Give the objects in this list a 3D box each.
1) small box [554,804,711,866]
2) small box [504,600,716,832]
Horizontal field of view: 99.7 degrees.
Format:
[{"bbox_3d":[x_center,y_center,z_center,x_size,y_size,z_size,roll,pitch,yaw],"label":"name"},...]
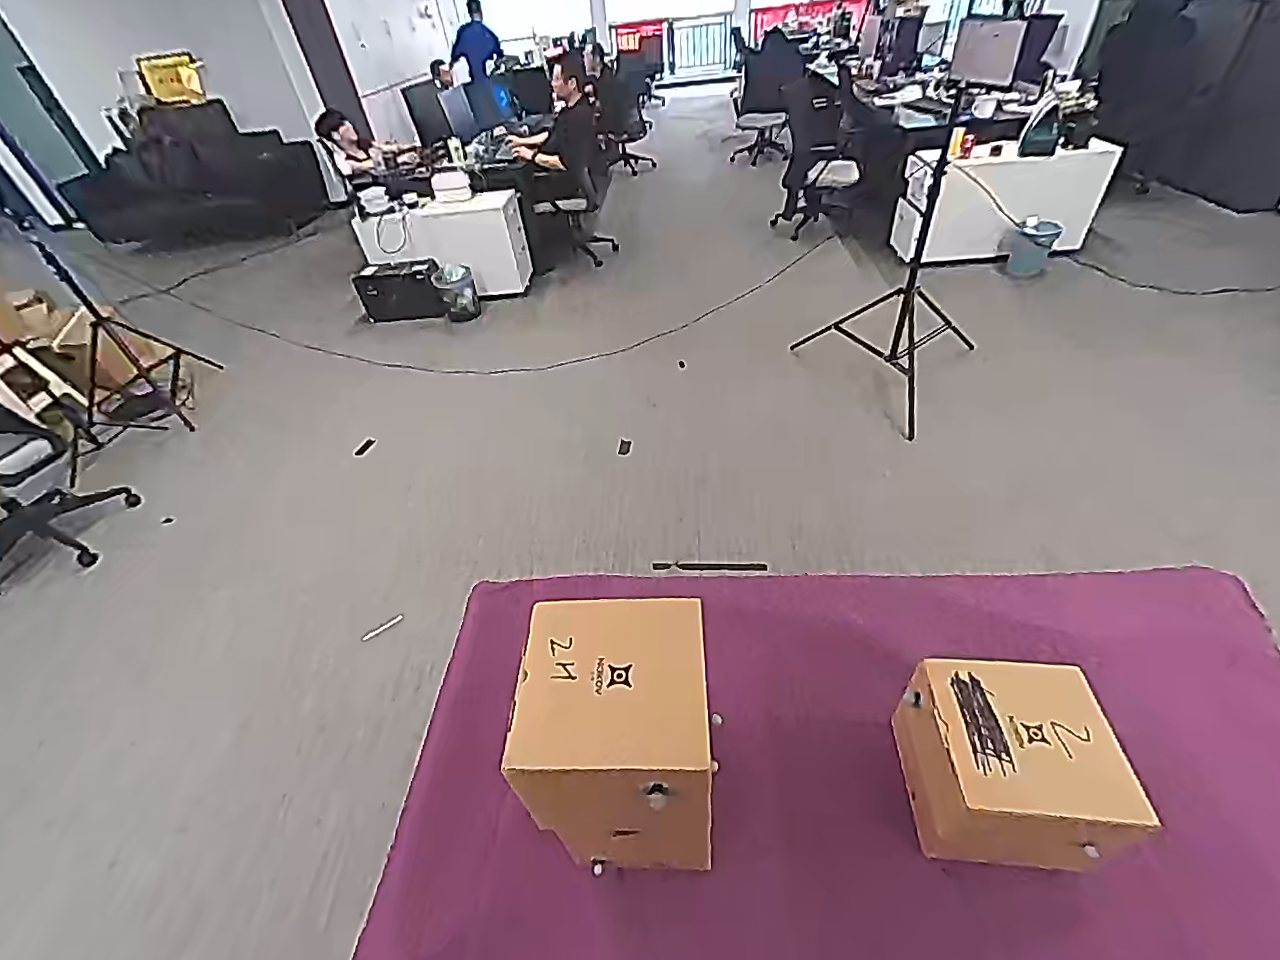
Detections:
[{"bbox_3d":[0.001,0.355,0.667,0.168,0.176,0.179,-2,42,5],"label":"small box"},{"bbox_3d":[-0.017,0.239,0.551,0.179,0.176,0.168,-3,42,5],"label":"small box"}]
